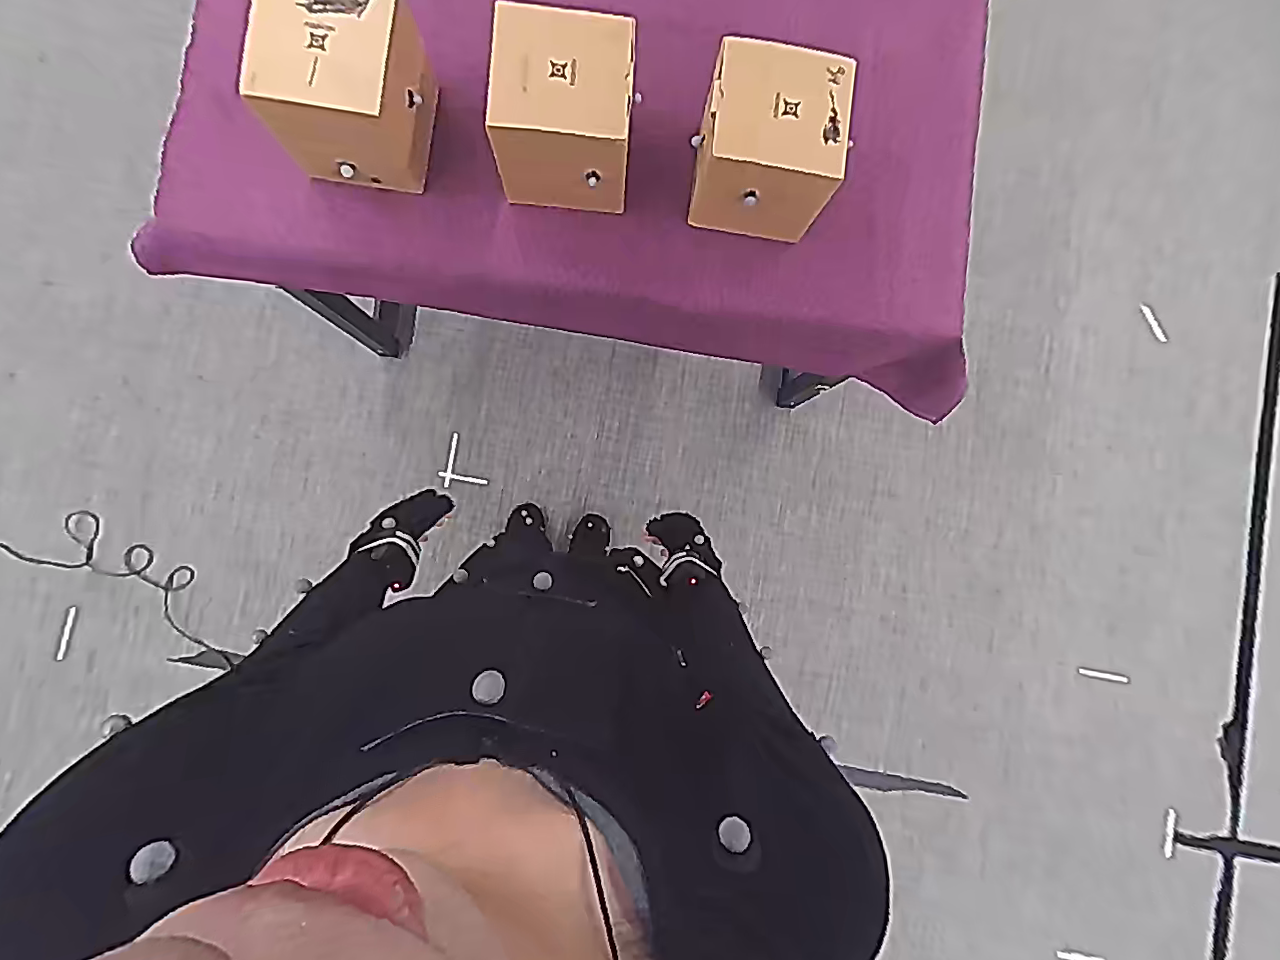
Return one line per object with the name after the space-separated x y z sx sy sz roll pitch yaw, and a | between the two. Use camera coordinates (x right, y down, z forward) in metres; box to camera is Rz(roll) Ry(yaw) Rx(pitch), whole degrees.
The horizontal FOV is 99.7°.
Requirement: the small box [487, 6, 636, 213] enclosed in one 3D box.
-0.101 -0.496 0.749 0.179 0.176 0.168 3 85 -3 | small box

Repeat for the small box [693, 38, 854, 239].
0.176 -0.466 0.765 0.179 0.176 0.168 8 86 -3 | small box
